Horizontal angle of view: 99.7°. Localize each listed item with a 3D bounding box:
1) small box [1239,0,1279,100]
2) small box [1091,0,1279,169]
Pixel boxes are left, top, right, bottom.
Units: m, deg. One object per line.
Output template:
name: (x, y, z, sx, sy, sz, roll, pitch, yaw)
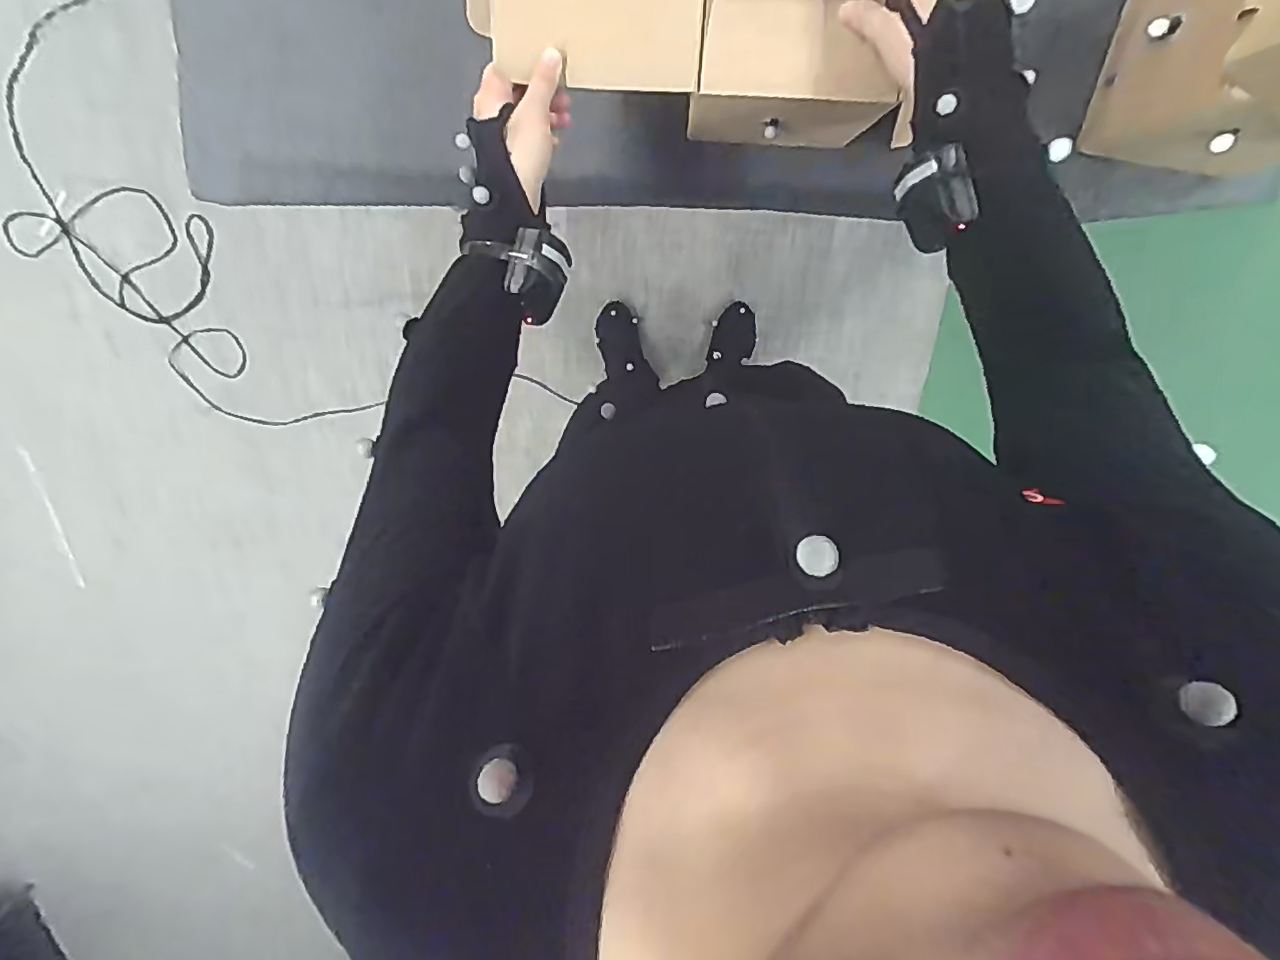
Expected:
small box: (0.568, -0.330, 0.336, 0.179, 0.176, 0.168, 28, 107, -8)
small box: (0.571, -0.398, 0.486, 0.179, 0.176, 0.168, 9, 109, 0)
